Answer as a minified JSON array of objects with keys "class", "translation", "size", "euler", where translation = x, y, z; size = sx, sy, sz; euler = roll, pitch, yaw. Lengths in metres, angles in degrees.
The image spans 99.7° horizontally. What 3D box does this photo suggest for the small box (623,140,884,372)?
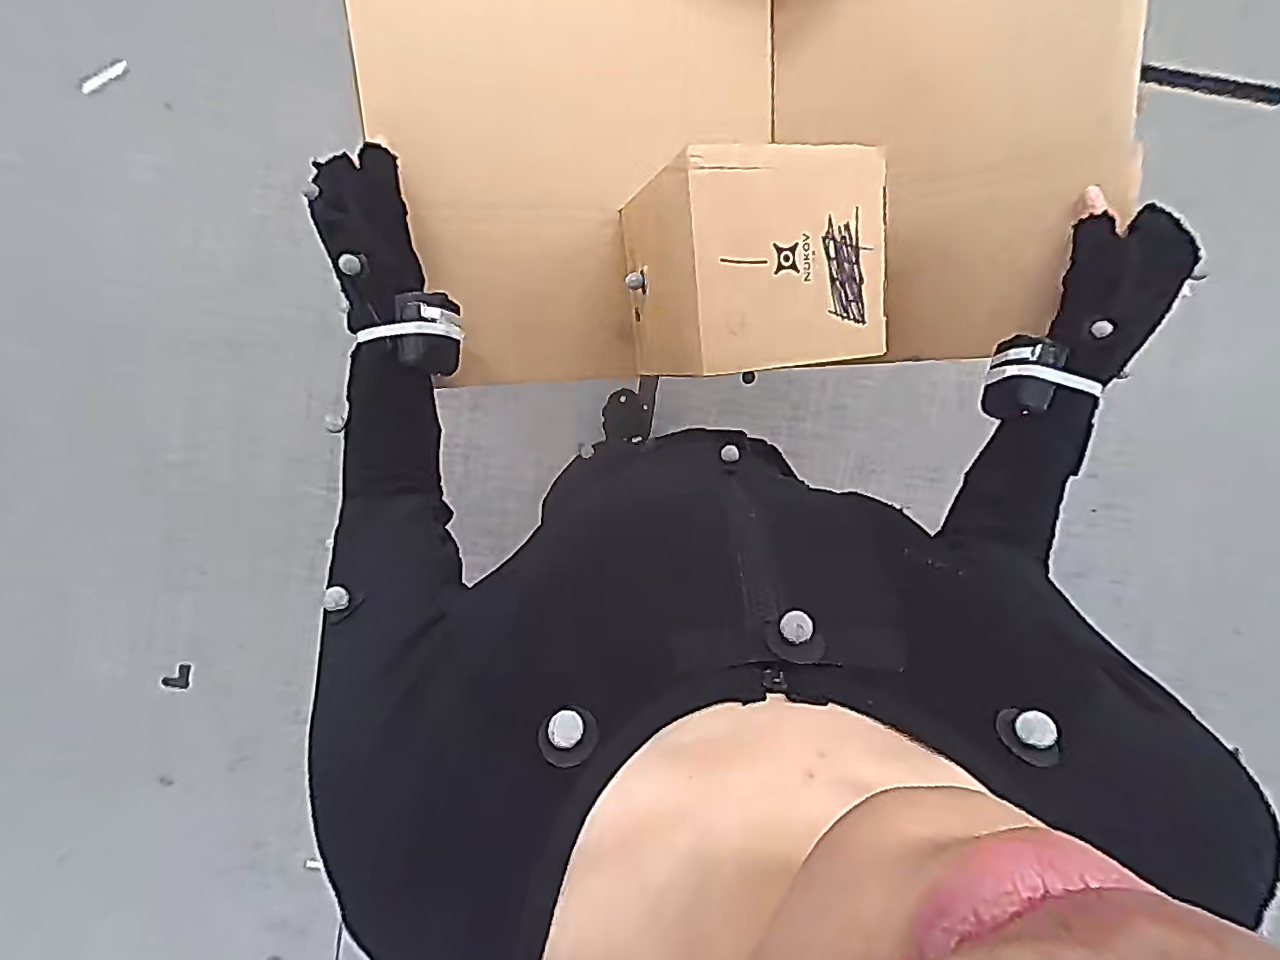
[{"class":"small box","translation":[0.096,-0.193,0.504],"size":[0.179,0.176,0.168],"euler":[-9,104,-16]}]
